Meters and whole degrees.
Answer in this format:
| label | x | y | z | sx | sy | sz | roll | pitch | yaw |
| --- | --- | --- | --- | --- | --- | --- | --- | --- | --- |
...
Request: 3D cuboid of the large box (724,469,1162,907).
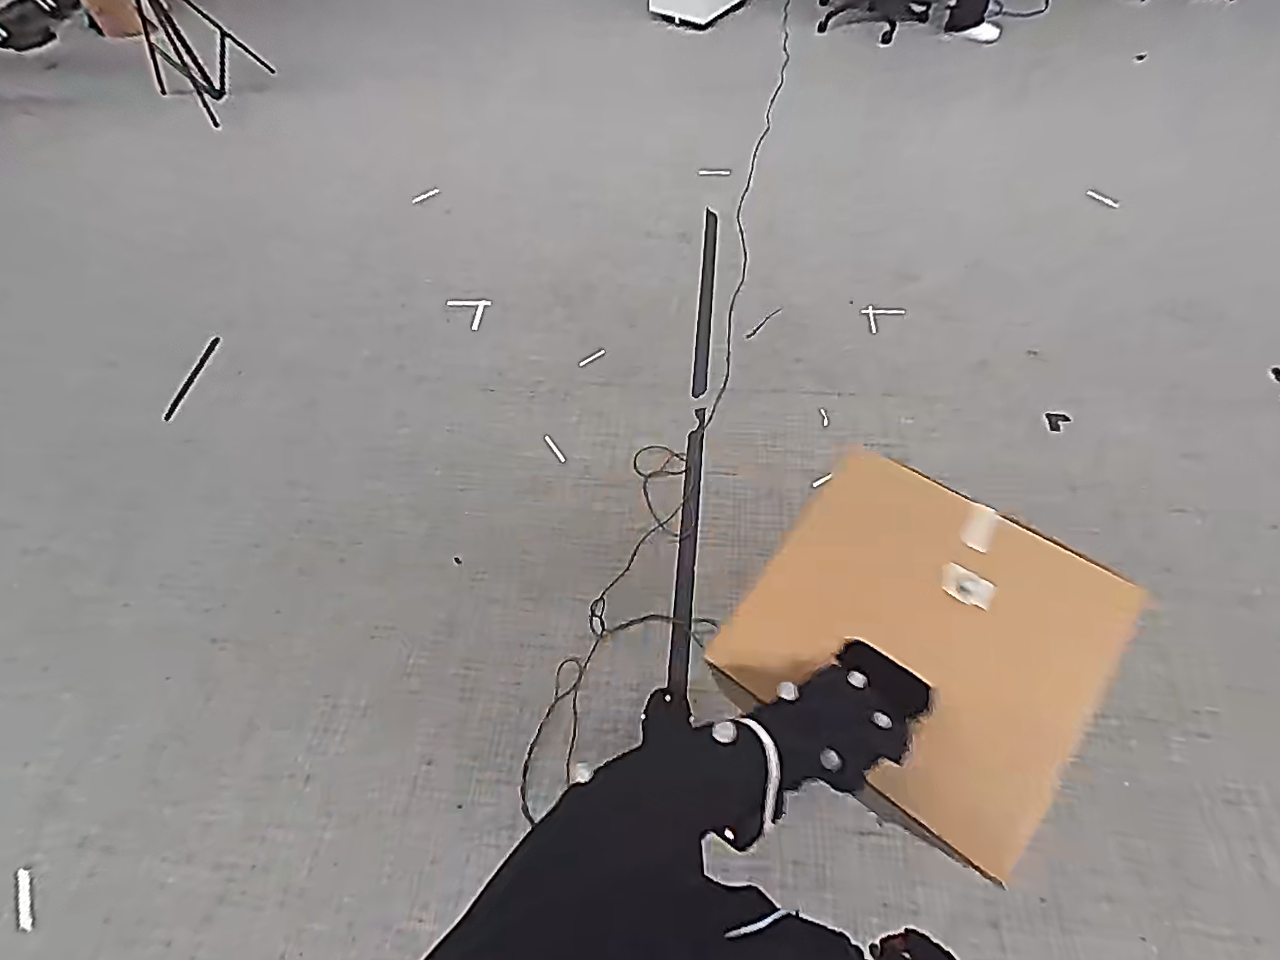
| label | x | y | z | sx | sy | sz | roll | pitch | yaw |
| --- | --- | --- | --- | --- | --- | --- | --- | --- | --- |
| large box | 0.339 | 0.252 | 0.714 | 0.320 | 0.408 | 0.320 | 36 | 77 | 25 |
